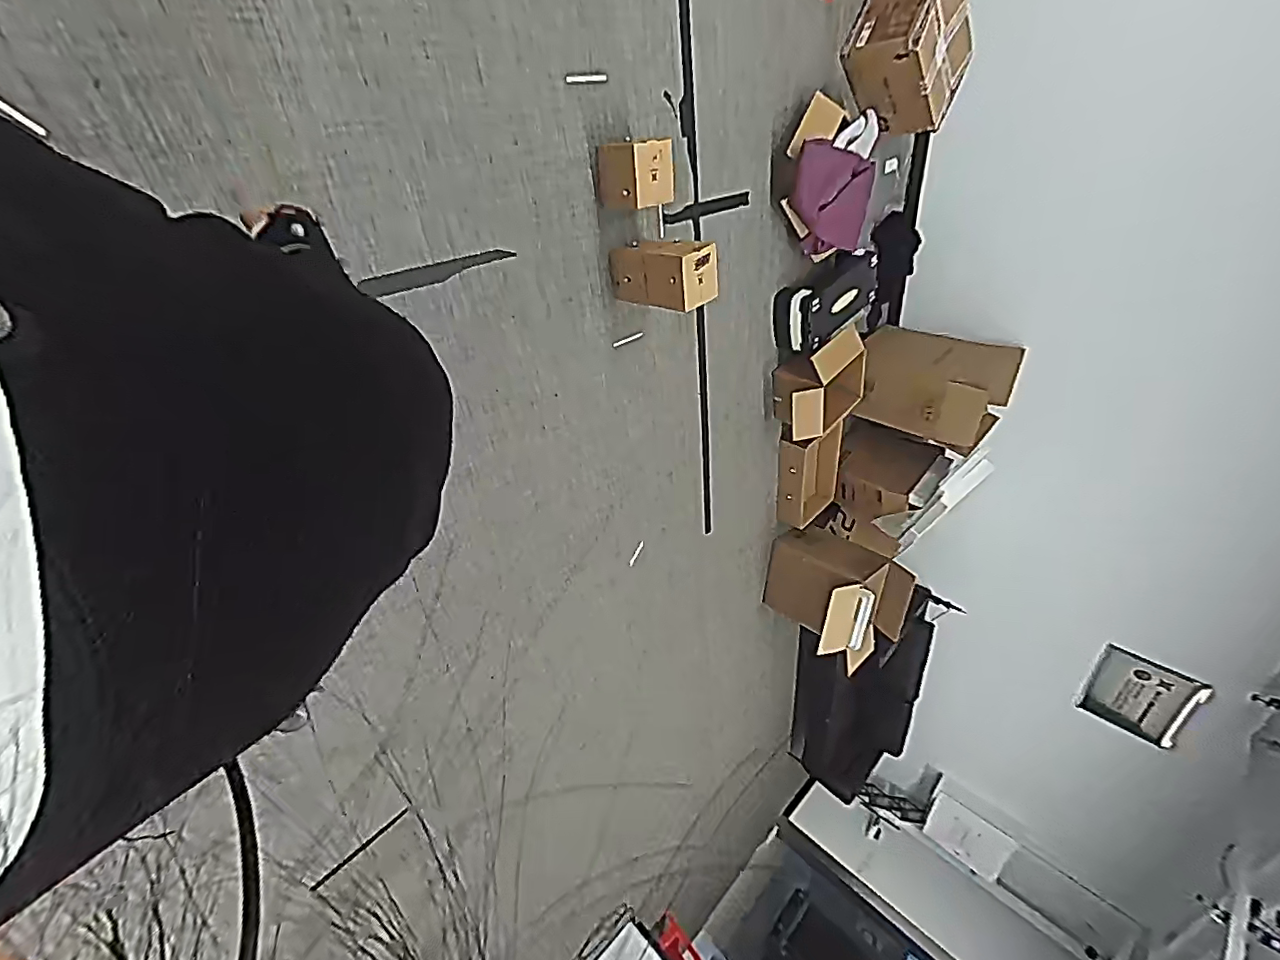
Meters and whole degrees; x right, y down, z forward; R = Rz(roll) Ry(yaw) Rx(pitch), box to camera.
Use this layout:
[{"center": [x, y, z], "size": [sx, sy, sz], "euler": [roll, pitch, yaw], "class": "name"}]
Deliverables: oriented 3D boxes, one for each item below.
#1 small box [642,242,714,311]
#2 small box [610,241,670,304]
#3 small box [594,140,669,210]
[{"center": [0.123, -0.676, 1.779], "size": [0.168, 0.176, 0.179], "euler": [-35, 133, -31], "class": "small box"}, {"center": [0.010, -0.728, 1.889], "size": [0.179, 0.176, 0.168], "euler": [-34, 132, -31], "class": "small box"}, {"center": [-0.028, -0.968, 1.715], "size": [0.168, 0.176, 0.179], "euler": [-31, 130, -34], "class": "small box"}]
